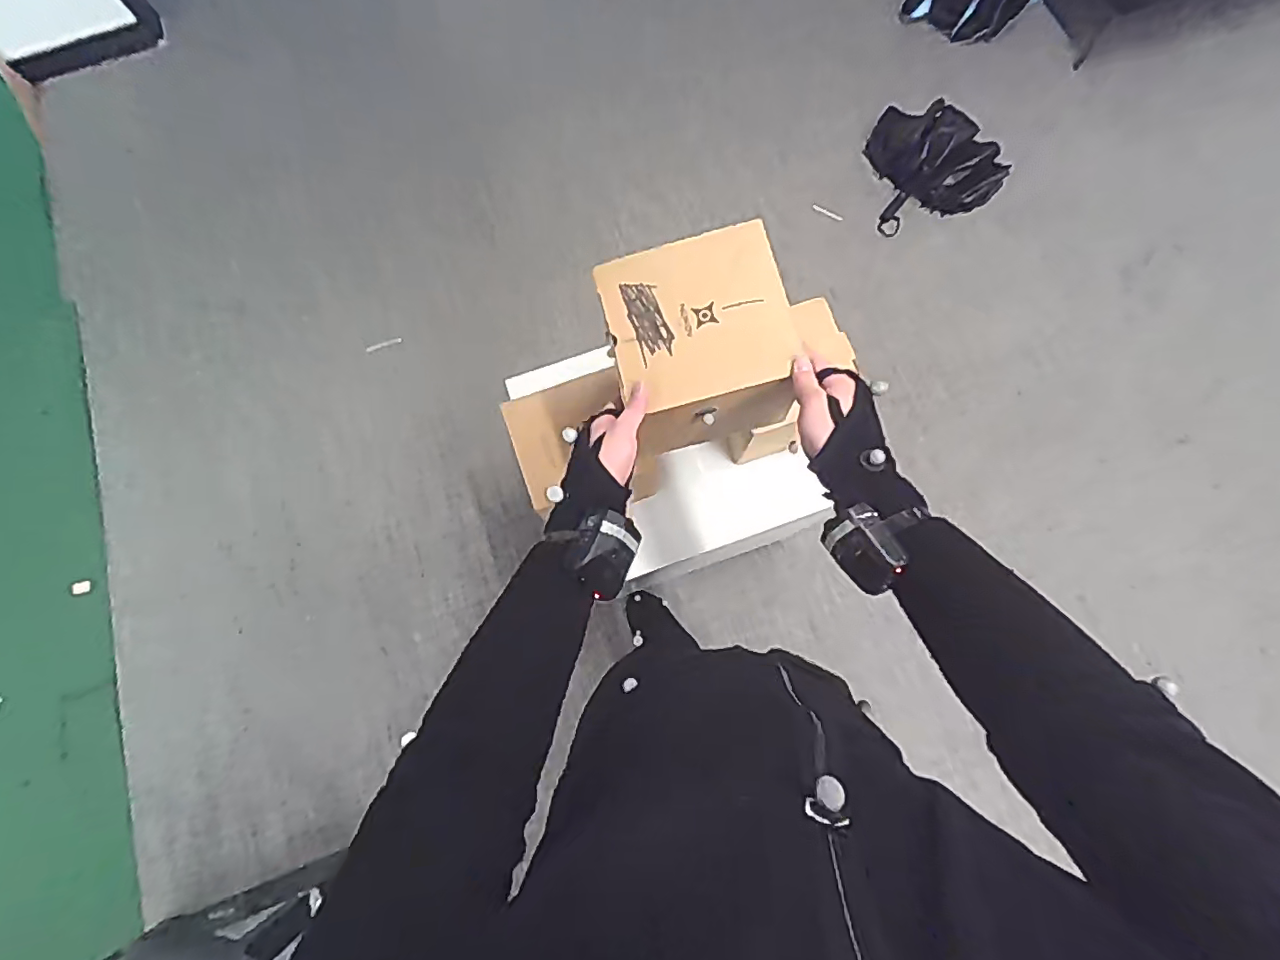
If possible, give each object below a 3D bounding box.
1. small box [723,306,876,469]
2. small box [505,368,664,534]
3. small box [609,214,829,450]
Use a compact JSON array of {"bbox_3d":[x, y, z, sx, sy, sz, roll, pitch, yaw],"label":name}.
[{"bbox_3d":[0.218,-0.133,0.829,0.179,0.176,0.168,-17,76,-6],"label":"small box"},{"bbox_3d":[-0.078,-0.035,0.799,0.179,0.176,0.168,-20,75,-6],"label":"small box"},{"bbox_3d":[0.077,-0.144,0.586,0.179,0.176,0.168,-14,77,1],"label":"small box"}]
